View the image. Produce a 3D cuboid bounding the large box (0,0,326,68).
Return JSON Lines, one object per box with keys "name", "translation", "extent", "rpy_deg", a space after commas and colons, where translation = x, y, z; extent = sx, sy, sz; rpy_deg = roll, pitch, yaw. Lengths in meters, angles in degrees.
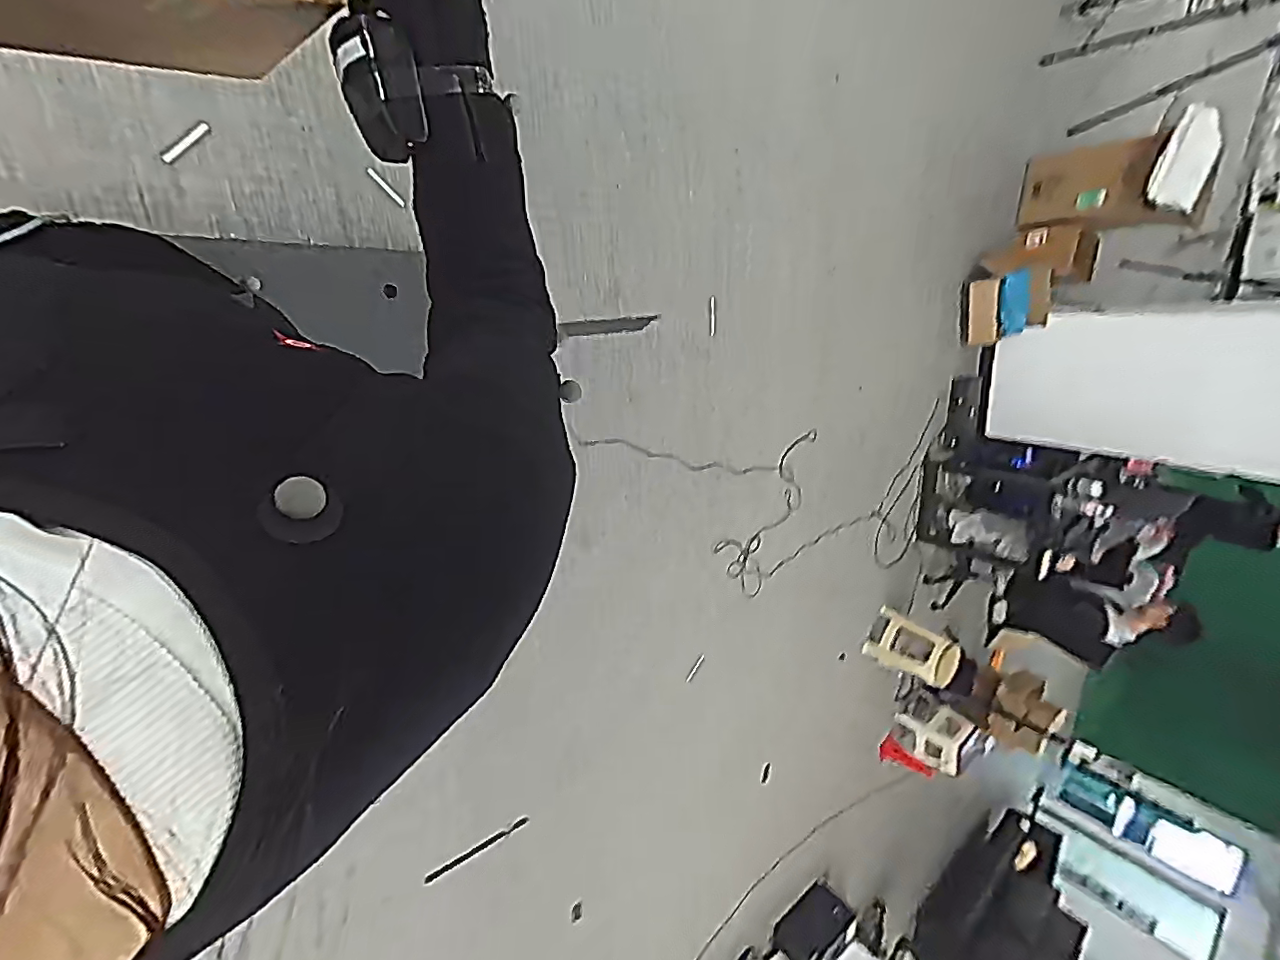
{"name": "large box", "translation": [-0.411, -0.404, 0.221], "extent": [0.408, 0.320, 0.320], "rpy_deg": [-20, 126, -35]}
